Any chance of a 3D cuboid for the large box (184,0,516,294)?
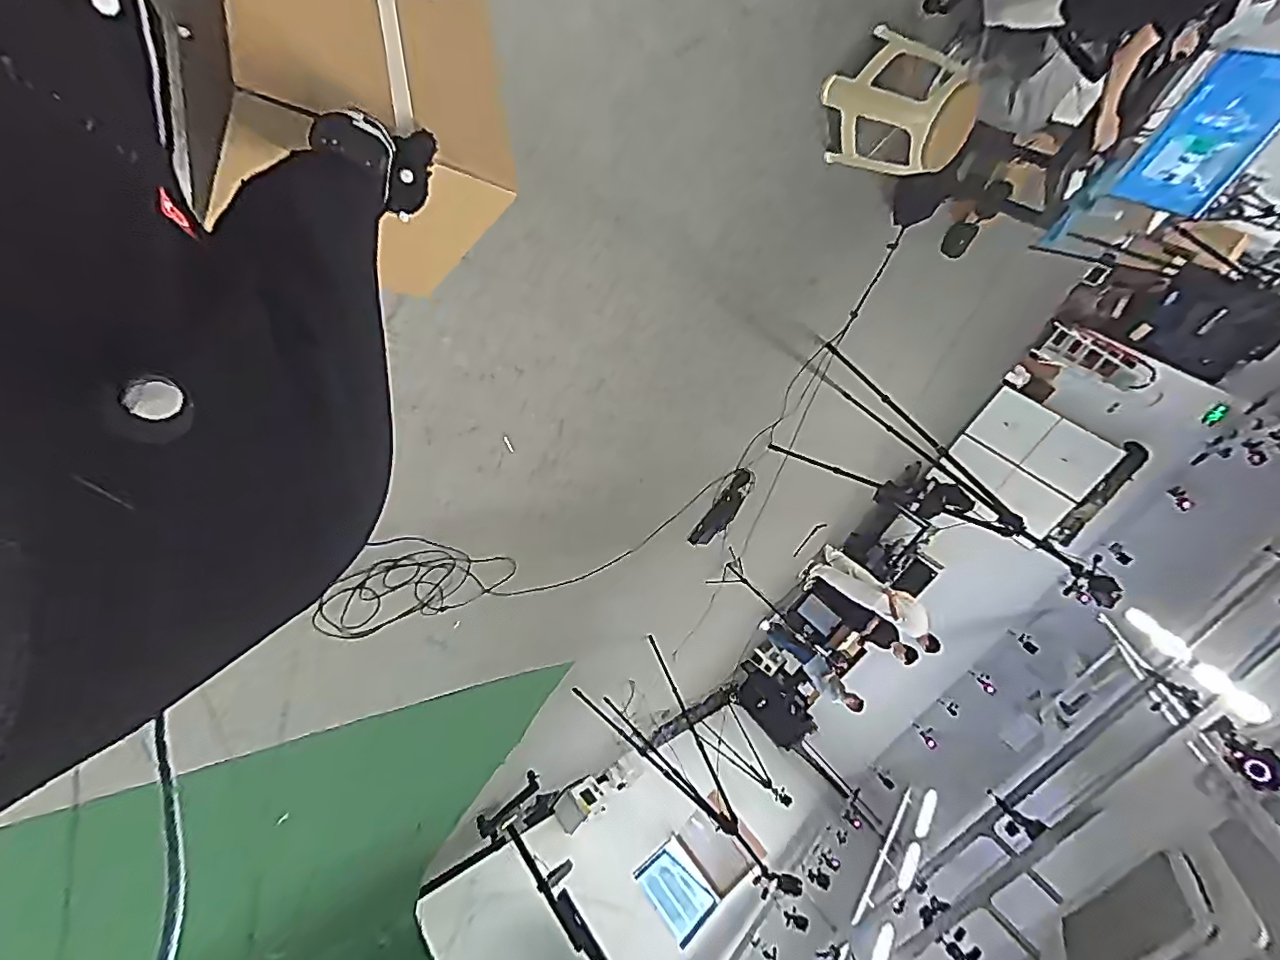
[{"bbox_3d":[-0.414,-0.532,0.757,0.320,0.408,0.320,-4,170,-45],"label":"large box"}]
